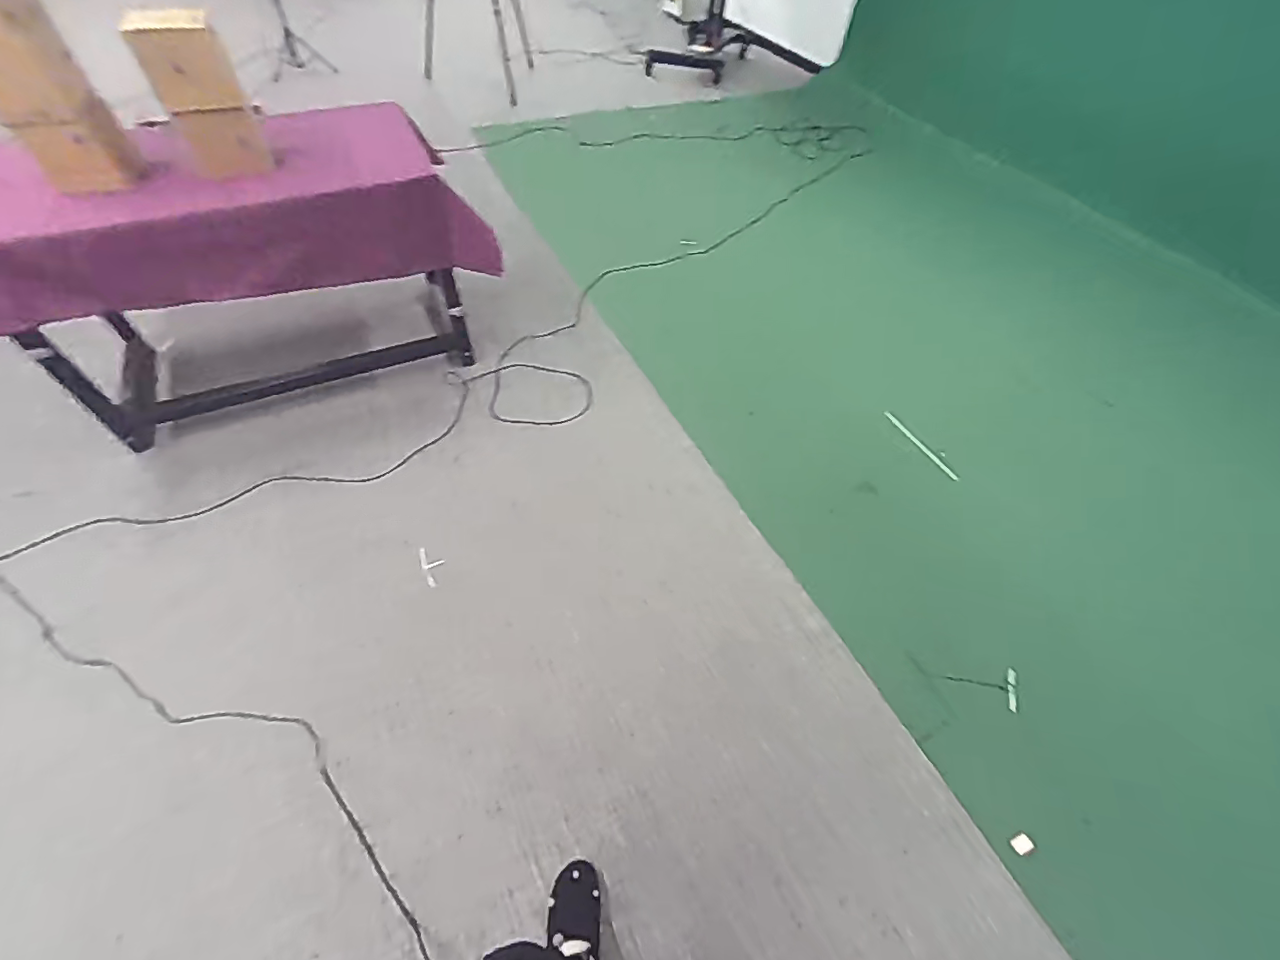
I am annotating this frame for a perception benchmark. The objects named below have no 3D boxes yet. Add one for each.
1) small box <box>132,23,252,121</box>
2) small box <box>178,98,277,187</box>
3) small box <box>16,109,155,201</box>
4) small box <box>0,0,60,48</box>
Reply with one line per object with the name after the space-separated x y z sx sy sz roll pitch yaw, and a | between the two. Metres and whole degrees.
-1.153 -1.057 1.405 0.179 0.176 0.168 -16 55 -15 | small box
-1.161 -0.962 1.538 0.179 0.176 0.168 -18 55 -17 | small box
-1.466 -0.866 1.444 0.179 0.176 0.168 -10 53 -12 | small box
-1.467 -1.076 1.191 0.179 0.176 0.168 -5 51 -7 | small box
